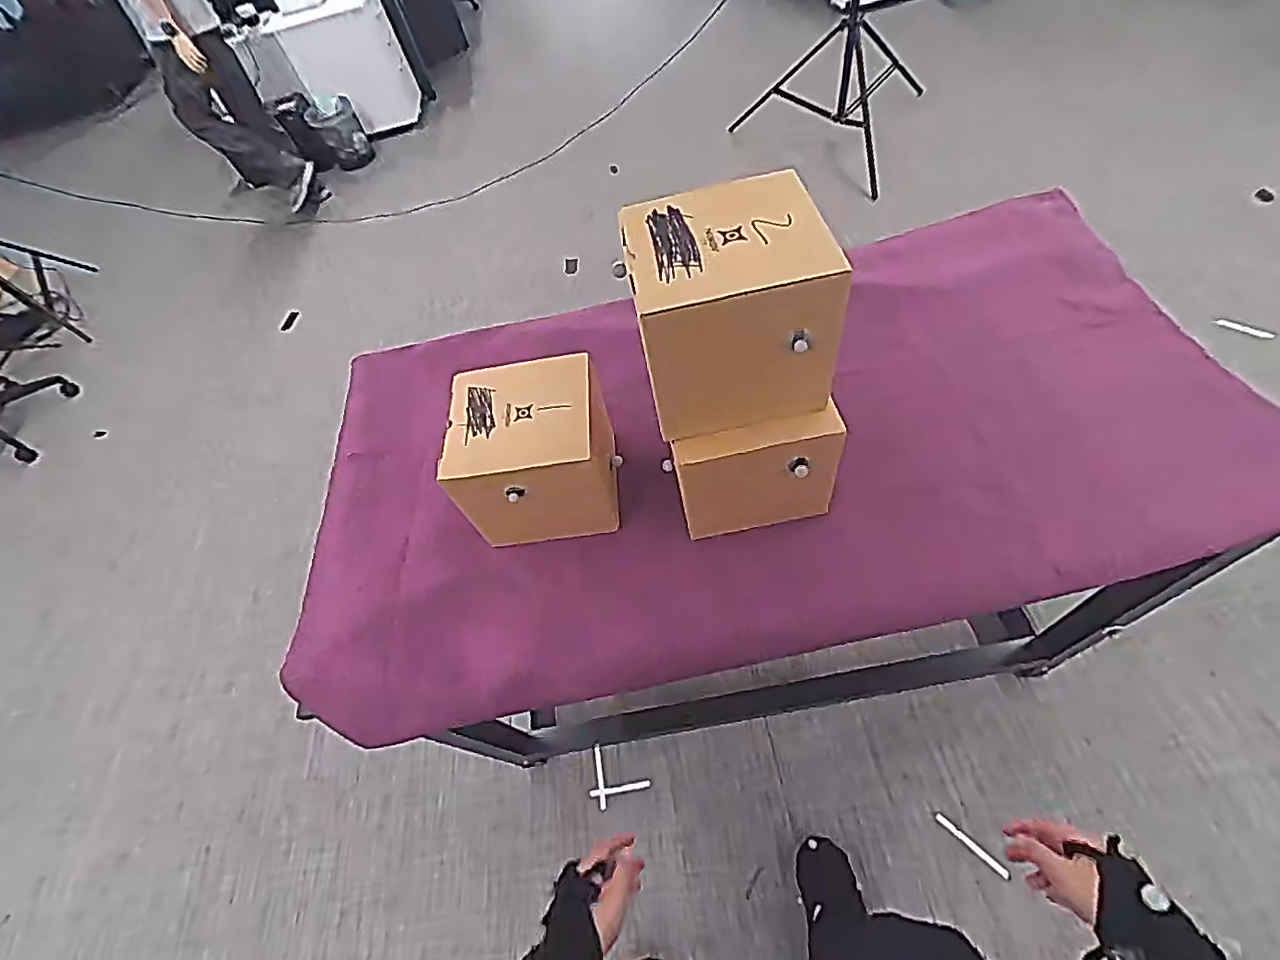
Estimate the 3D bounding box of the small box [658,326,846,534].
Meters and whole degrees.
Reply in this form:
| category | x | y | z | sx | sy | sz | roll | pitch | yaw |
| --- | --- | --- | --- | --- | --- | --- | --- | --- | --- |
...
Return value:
| category | x | y | z | sx | sy | sz | roll | pitch | yaw |
| --- | --- | --- | --- | --- | --- | --- | --- | --- | --- |
| small box | 0.126 | -0.054 | 0.658 | 0.179 | 0.176 | 0.168 | -12 | 54 | 4 |

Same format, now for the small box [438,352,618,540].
| category | x | y | z | sx | sy | sz | roll | pitch | yaw |
| --- | --- | --- | --- | --- | --- | --- | --- | --- | --- |
| small box | -0.130 | -0.036 | 0.695 | 0.179 | 0.176 | 0.168 | -8 | 56 | 5 |
